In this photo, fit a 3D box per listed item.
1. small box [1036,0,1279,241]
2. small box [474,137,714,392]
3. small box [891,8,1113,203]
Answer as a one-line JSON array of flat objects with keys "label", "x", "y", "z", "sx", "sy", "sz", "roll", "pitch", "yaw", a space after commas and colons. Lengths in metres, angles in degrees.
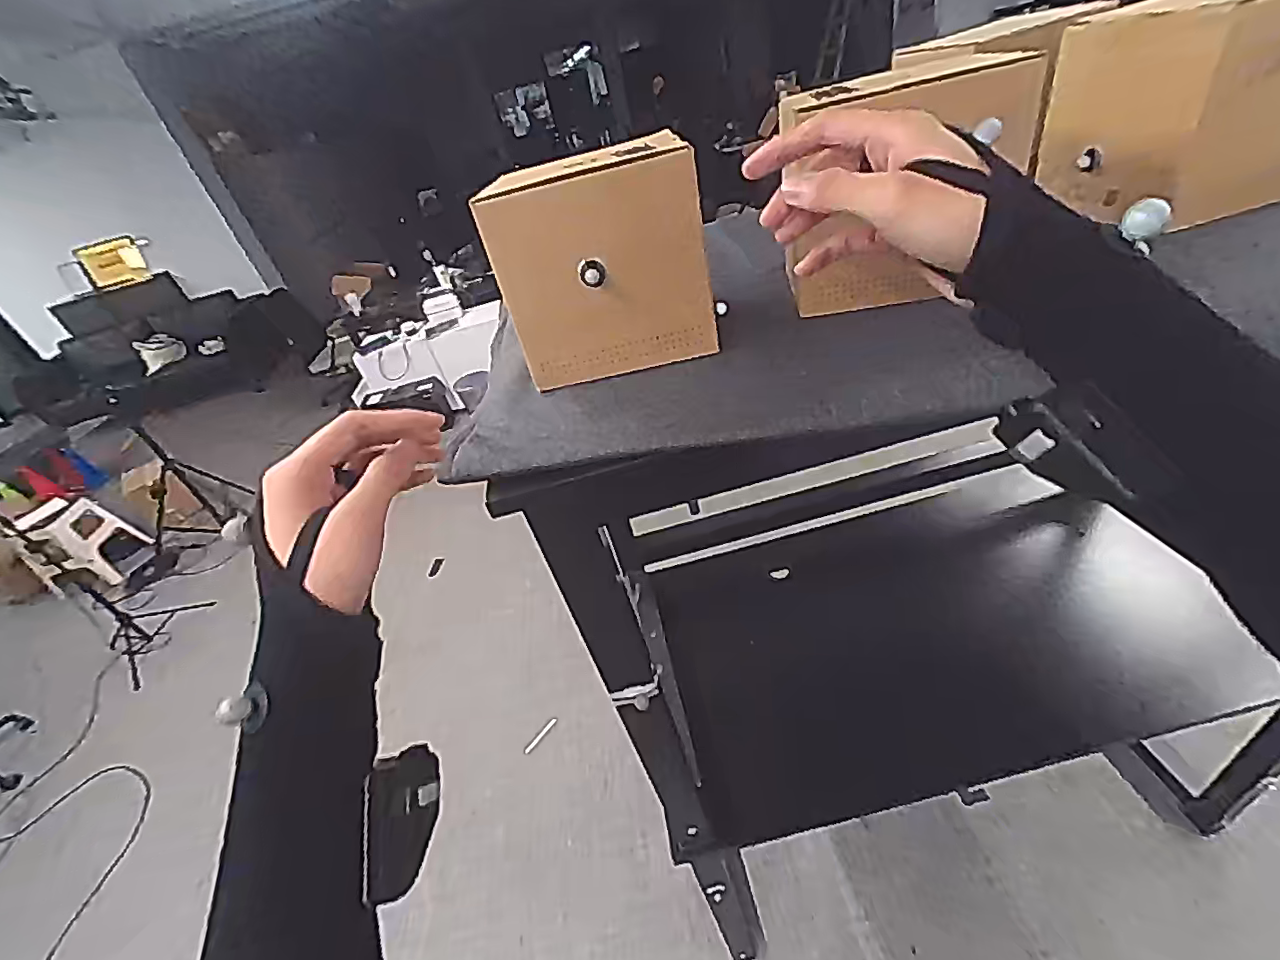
[{"label": "small box", "x": 0.524, "y": -0.348, "z": 0.510, "sx": 0.179, "sy": 0.176, "sz": 0.168, "roll": -16, "pitch": 36, "yaw": 0}, {"label": "small box", "x": -0.030, "y": -0.206, "z": 0.519, "sx": 0.179, "sy": 0.176, "sz": 0.168, "roll": -12, "pitch": 35, "yaw": 6}, {"label": "small box", "x": 0.450, "y": -0.481, "z": 0.711, "sx": 0.168, "sy": 0.176, "sz": 0.179, "roll": -16, "pitch": 36, "yaw": 1}]
